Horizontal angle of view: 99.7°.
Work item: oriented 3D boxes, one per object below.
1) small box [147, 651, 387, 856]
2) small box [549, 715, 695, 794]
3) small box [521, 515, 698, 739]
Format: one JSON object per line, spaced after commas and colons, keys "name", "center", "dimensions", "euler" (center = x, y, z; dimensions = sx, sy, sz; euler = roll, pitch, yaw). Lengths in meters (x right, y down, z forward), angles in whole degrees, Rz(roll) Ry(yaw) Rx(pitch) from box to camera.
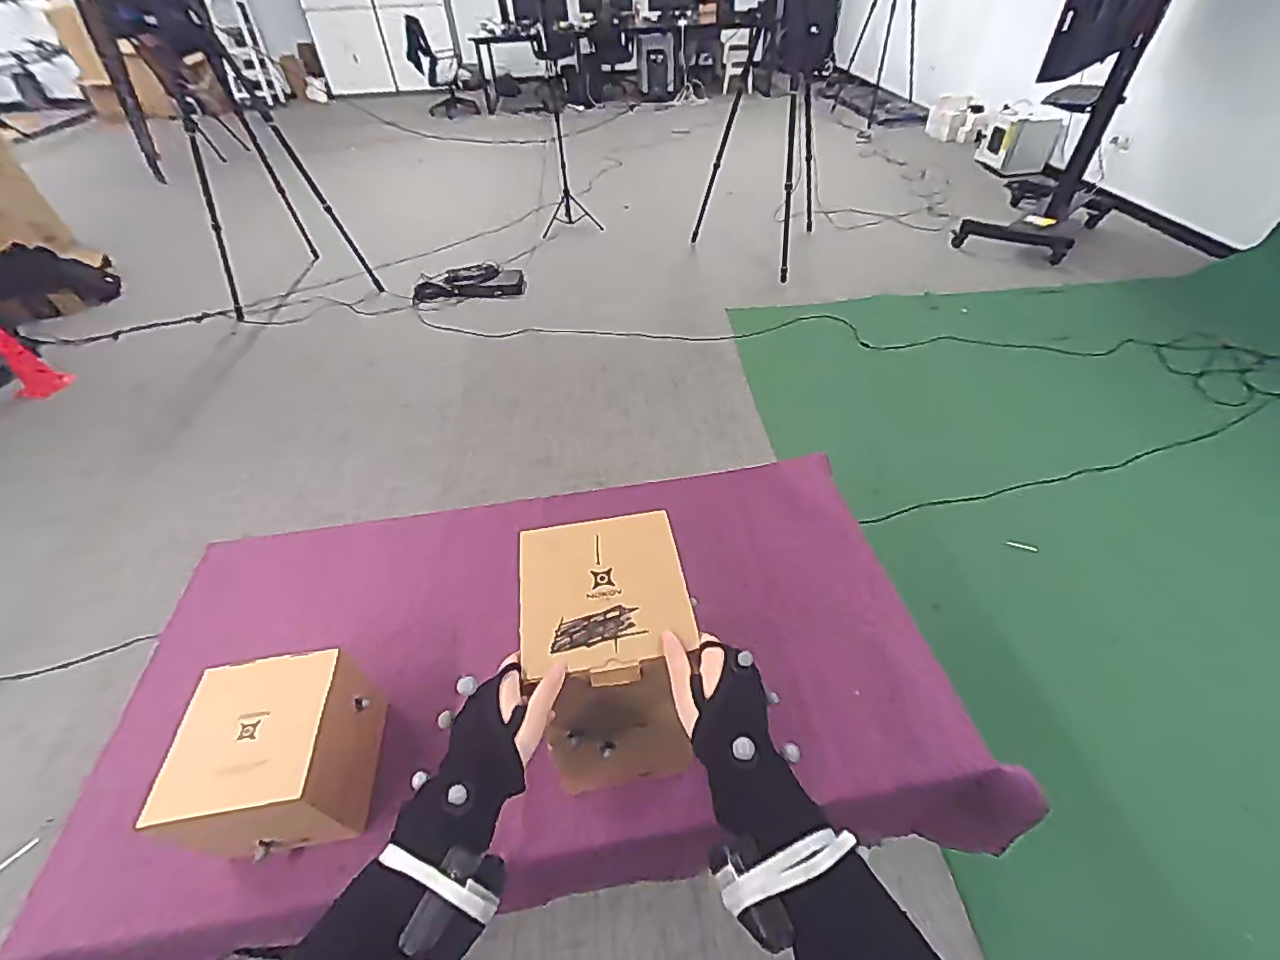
{"name": "small box", "center": [-0.441, 0.343, 0.681], "dimensions": [0.168, 0.176, 0.179], "euler": [-8, 46, -3]}
{"name": "small box", "center": [-0.026, 0.283, 0.714], "dimensions": [0.168, 0.176, 0.179], "euler": [-9, 45, -3]}
{"name": "small box", "center": [-0.033, 0.167, 0.598], "dimensions": [0.168, 0.176, 0.179], "euler": [-8, 45, -5]}
